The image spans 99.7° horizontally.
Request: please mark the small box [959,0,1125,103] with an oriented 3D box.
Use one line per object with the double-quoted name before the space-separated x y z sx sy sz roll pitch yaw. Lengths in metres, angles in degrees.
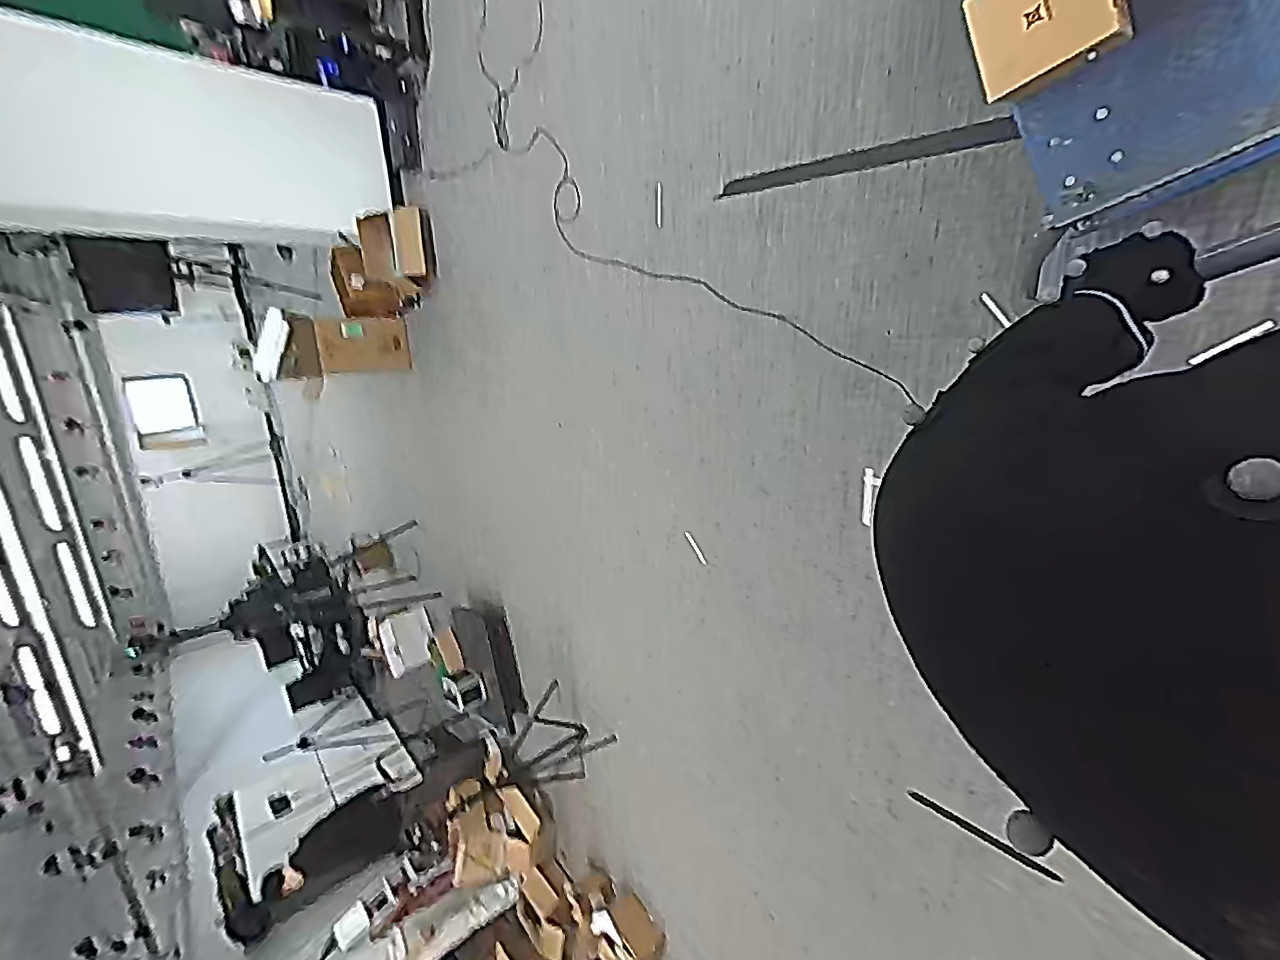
"small box" 0.666 -0.758 0.895 0.179 0.176 0.168 -12 106 48
